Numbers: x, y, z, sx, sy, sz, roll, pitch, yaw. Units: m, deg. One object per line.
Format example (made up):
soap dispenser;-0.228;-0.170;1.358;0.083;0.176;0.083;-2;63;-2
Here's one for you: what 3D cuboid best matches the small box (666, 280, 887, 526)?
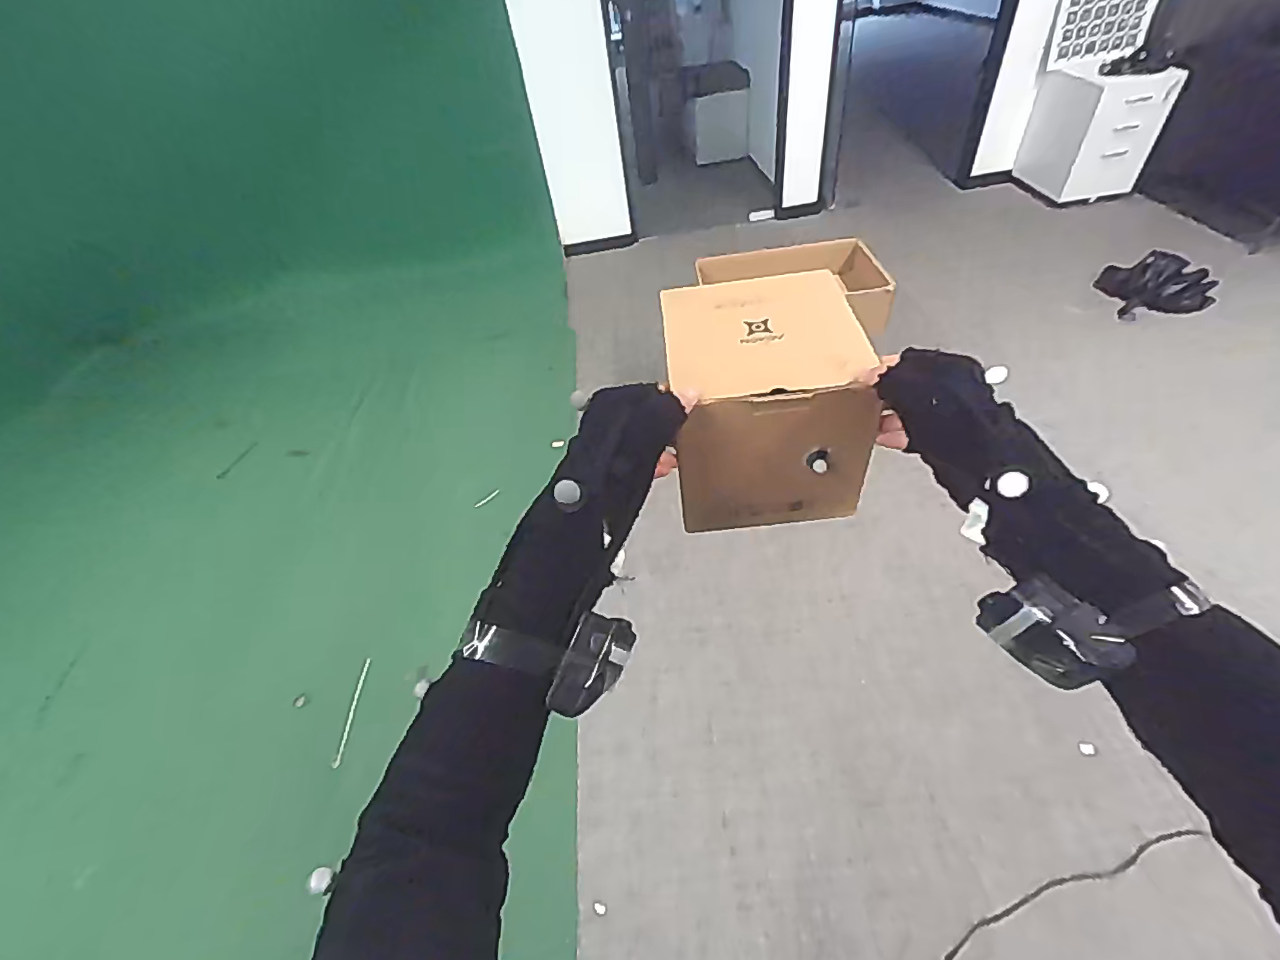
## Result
small box;0.117;-0.068;0.528;0.168;0.176;0.179;-5;45;4
